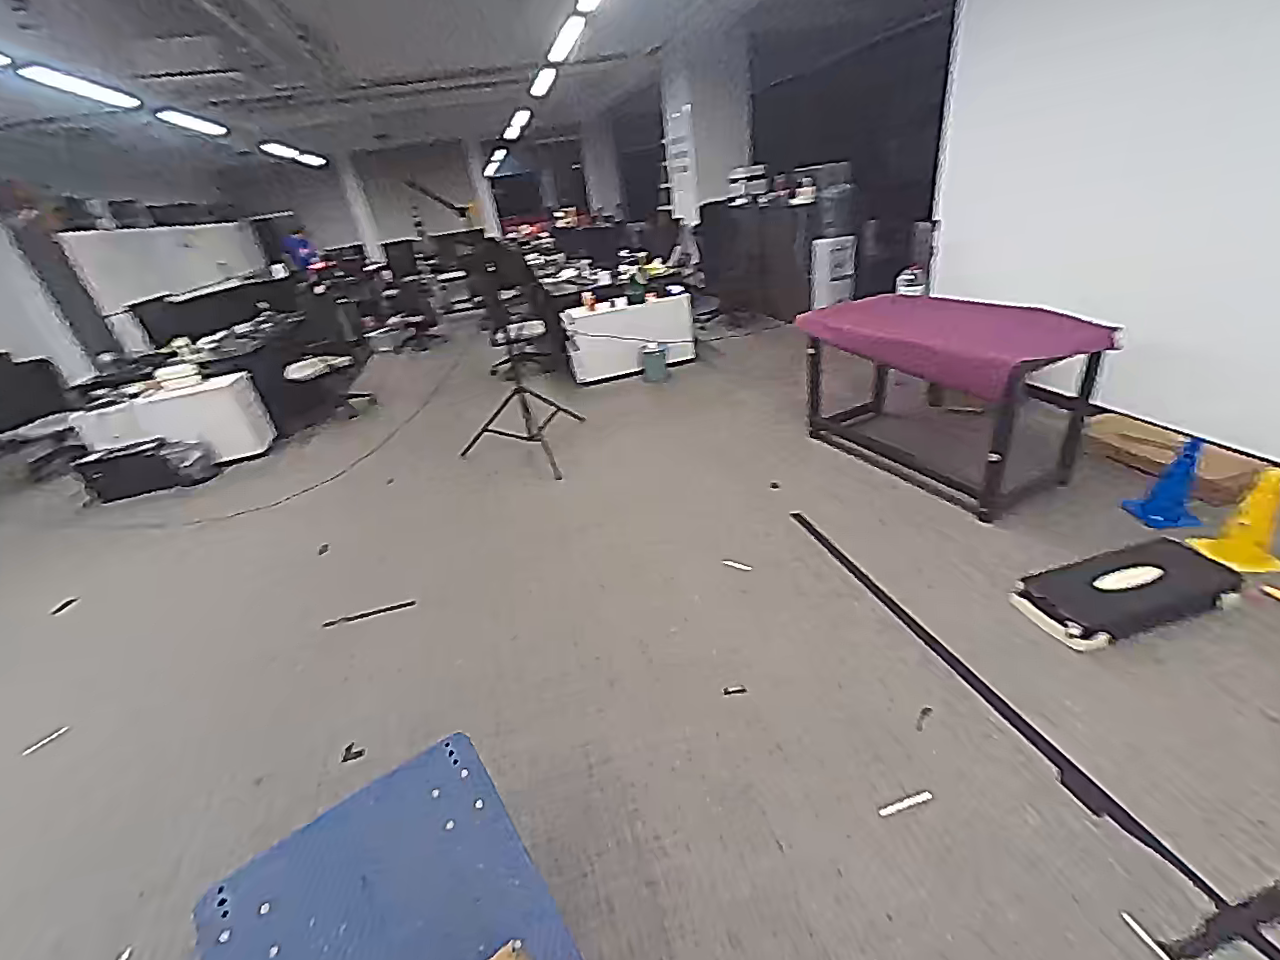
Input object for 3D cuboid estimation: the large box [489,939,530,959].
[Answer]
[{"bbox_3d":[-0.263,0.993,0.769,0.408,0.320,0.320,-26,51,-30],"label":"large box"}]
